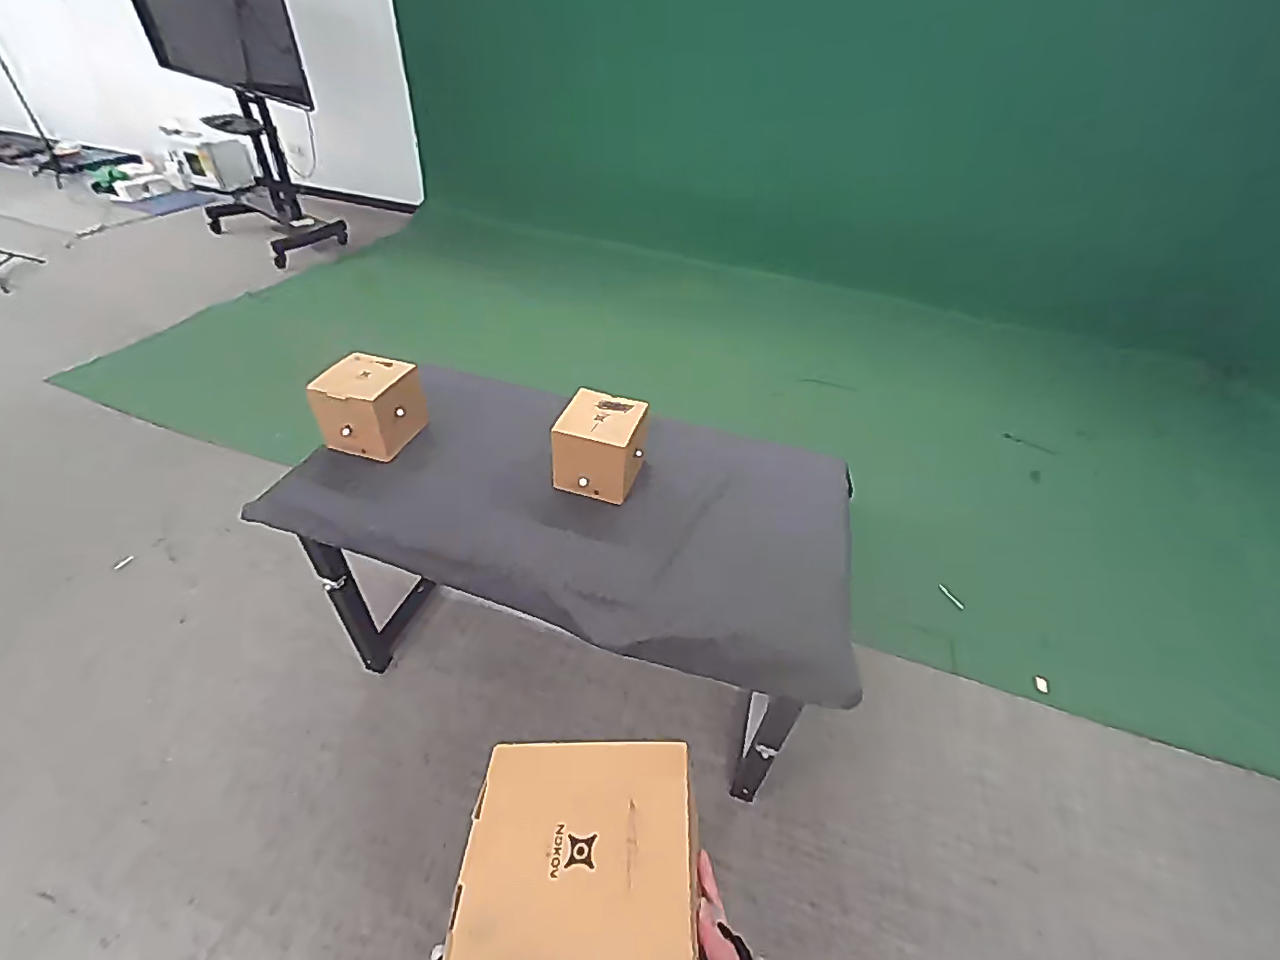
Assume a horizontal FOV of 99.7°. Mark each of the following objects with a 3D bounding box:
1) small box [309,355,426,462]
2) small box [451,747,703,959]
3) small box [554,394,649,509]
[{"bbox_3d":[-0.629,-0.167,1.279,0.168,0.176,0.179,14,42,7],"label":"small box"},{"bbox_3d":[-0.037,0.354,0.475,0.179,0.176,0.168,-3,41,5],"label":"small box"},{"bbox_3d":[-0.088,-0.066,1.235,0.168,0.176,0.179,15,43,9],"label":"small box"}]
